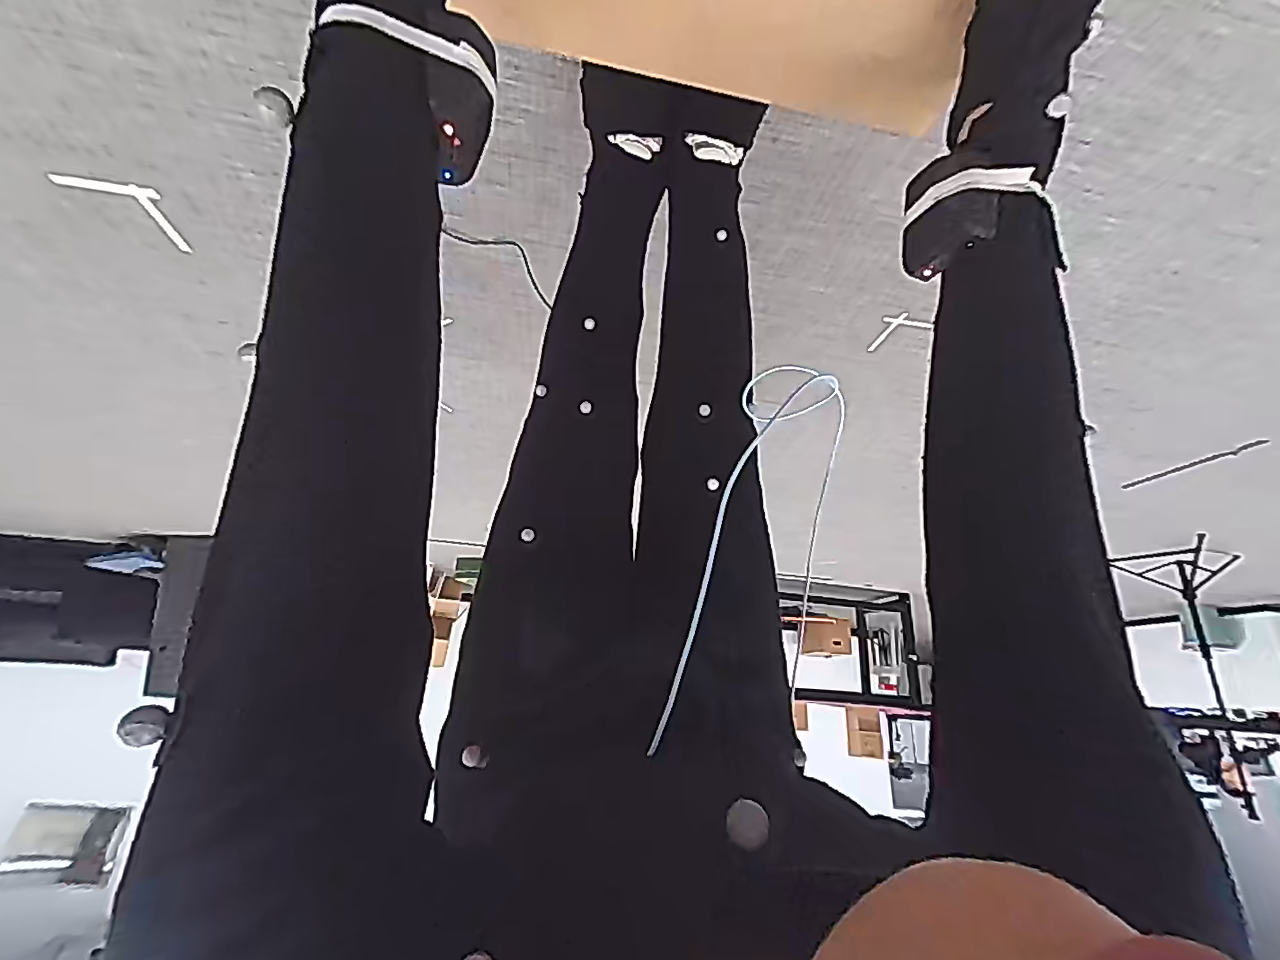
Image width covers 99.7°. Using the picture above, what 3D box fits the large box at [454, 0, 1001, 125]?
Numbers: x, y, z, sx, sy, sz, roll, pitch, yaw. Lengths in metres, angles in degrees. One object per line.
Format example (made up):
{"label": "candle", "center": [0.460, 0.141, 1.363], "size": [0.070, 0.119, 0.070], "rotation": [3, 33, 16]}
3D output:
{"label": "large box", "center": [0.082, -0.526, 0.368], "size": [0.408, 0.320, 0.320], "rotation": [7, 159, -8]}
